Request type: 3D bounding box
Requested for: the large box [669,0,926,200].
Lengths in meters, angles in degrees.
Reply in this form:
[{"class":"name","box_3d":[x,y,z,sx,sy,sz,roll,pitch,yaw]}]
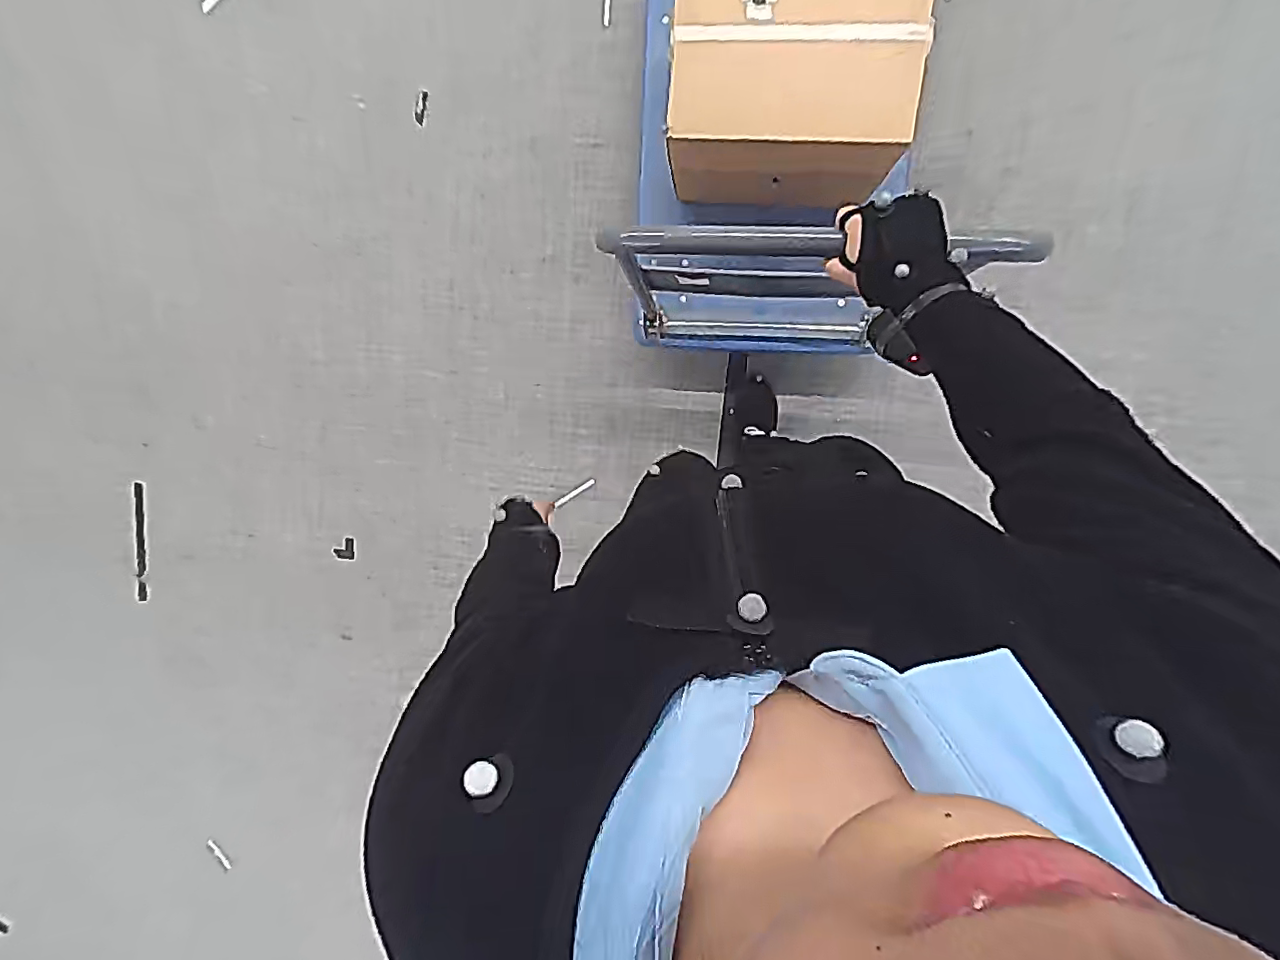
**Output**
[{"class":"large box","box_3d":[0.278,-0.750,1.035,0.408,0.320,0.320,5,98,8]}]
